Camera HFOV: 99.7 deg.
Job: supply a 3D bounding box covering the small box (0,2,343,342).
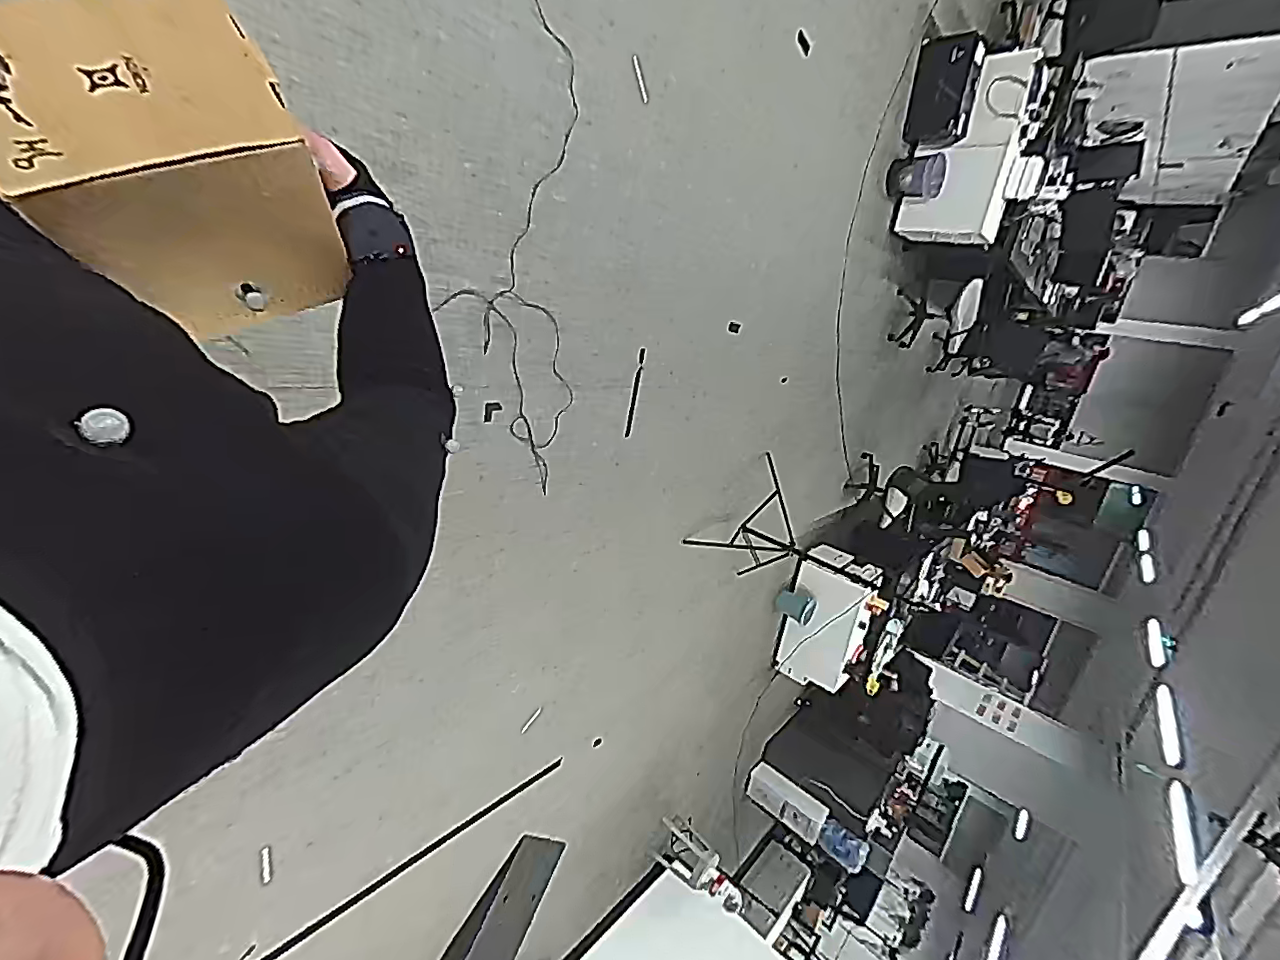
[{"bbox_3d":[-0.379,-0.250,0.459,0.179,0.168,0.176,-29,168,-23],"label":"small box"}]
